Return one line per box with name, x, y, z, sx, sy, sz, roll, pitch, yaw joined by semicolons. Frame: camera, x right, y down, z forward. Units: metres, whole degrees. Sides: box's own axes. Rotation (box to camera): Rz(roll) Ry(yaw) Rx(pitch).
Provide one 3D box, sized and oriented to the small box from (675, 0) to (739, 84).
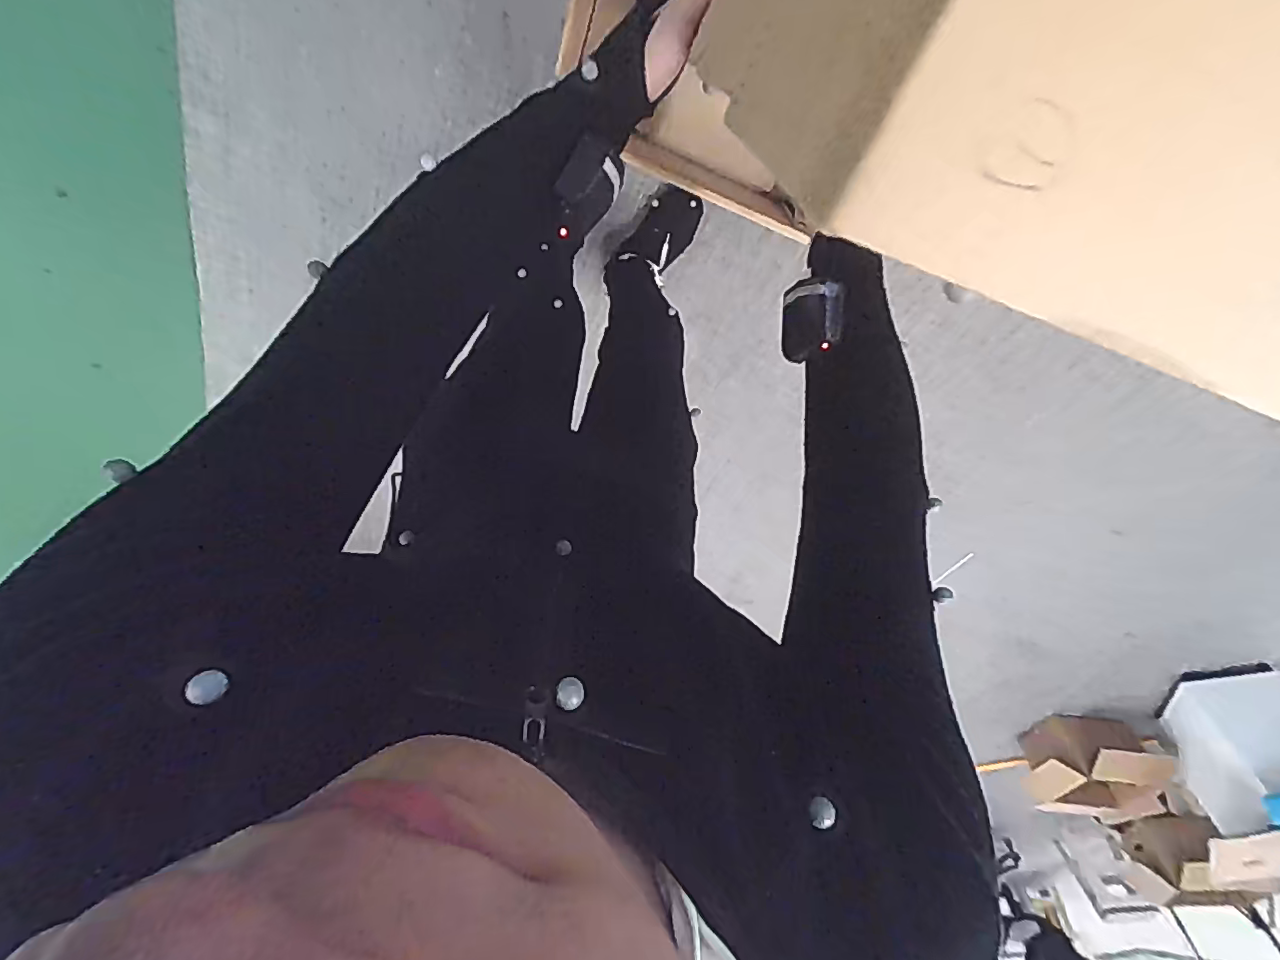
small box;0.144;-0.467;0.513;0.179;0.176;0.168;18;127;-16
